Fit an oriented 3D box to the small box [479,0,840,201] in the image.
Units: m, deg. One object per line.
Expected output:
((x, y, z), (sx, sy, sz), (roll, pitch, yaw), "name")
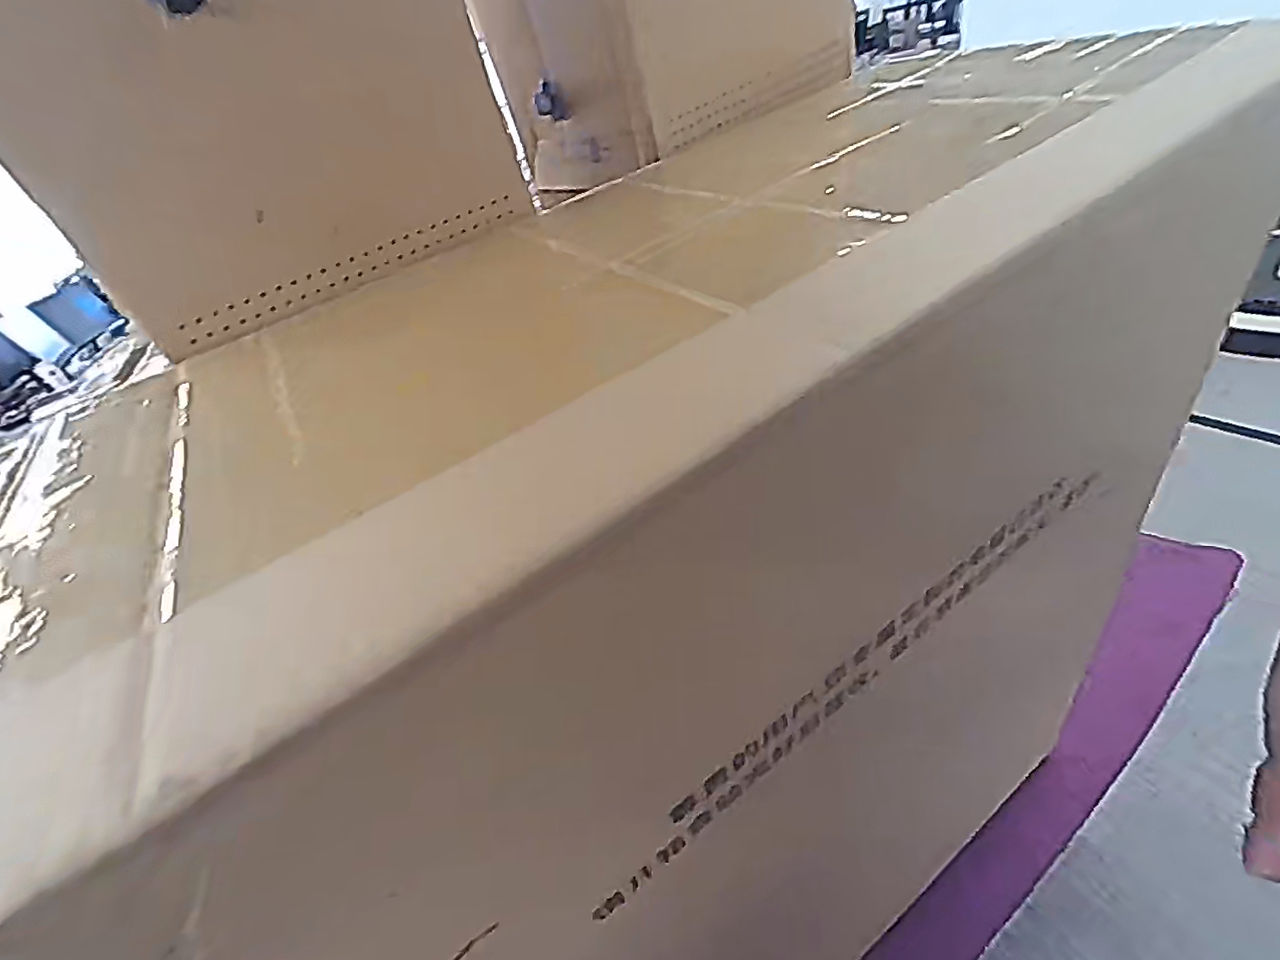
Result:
((0.010, -0.299, 0.345), (0.179, 0.176, 0.168), (-37, 41, -19), "small box")

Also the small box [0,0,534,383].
((-0.180, -0.170, 0.263), (0.179, 0.176, 0.168), (-32, 41, -19), "small box")
